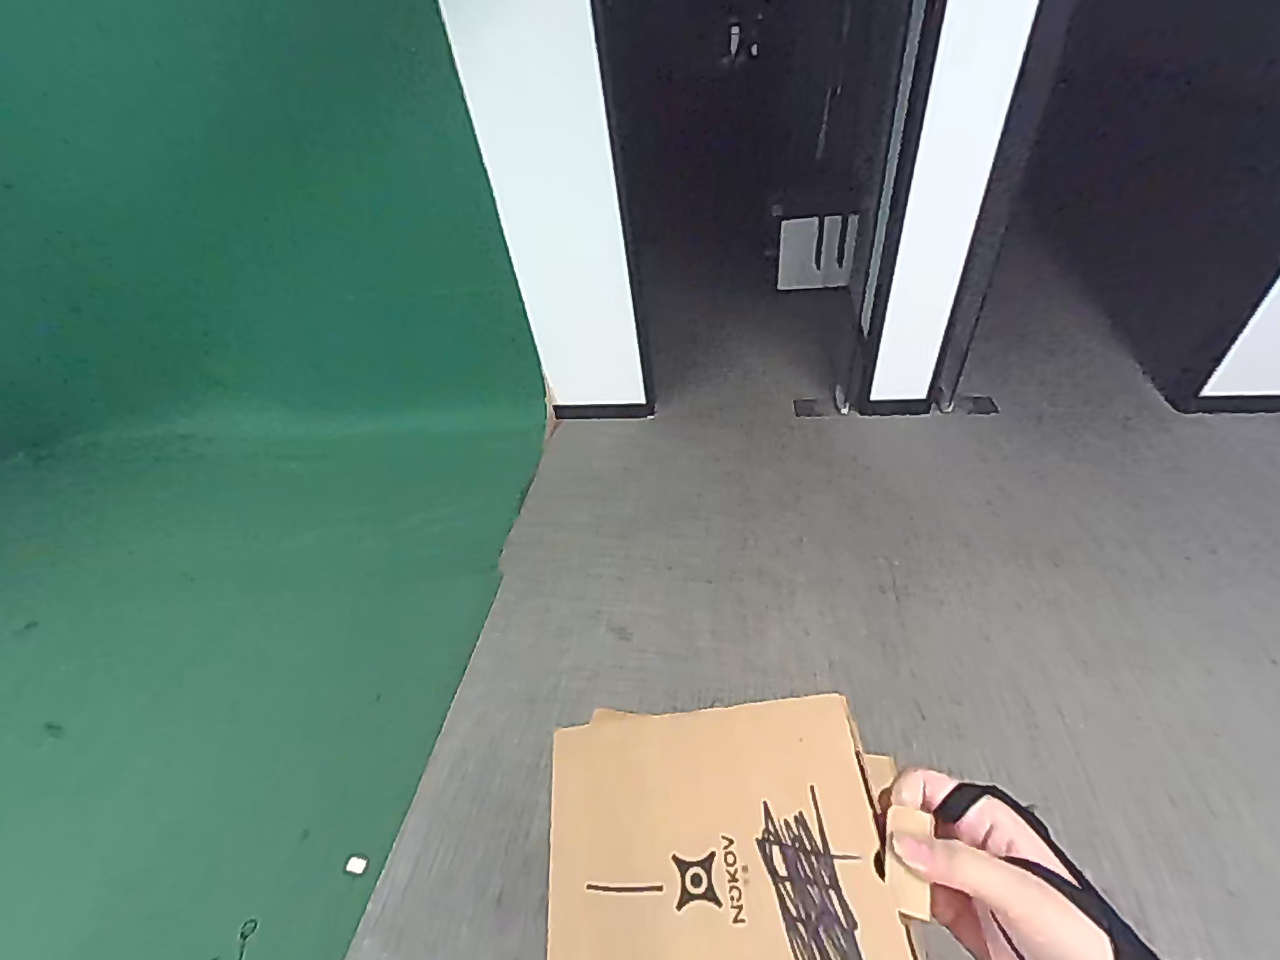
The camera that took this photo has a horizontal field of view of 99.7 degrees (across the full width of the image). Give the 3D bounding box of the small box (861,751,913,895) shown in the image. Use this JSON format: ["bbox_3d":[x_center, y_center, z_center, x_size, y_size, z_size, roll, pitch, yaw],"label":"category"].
[{"bbox_3d":[0.291,0.526,0.825,0.179,0.176,0.168,-1,42,12],"label":"small box"}]

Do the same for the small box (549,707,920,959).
[{"bbox_3d":[0.053,0.251,0.333,0.179,0.176,0.168,-10,53,7],"label":"small box"}]

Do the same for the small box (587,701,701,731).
[{"bbox_3d":[0.007,0.432,0.733,0.168,0.176,0.179,4,44,12],"label":"small box"}]
